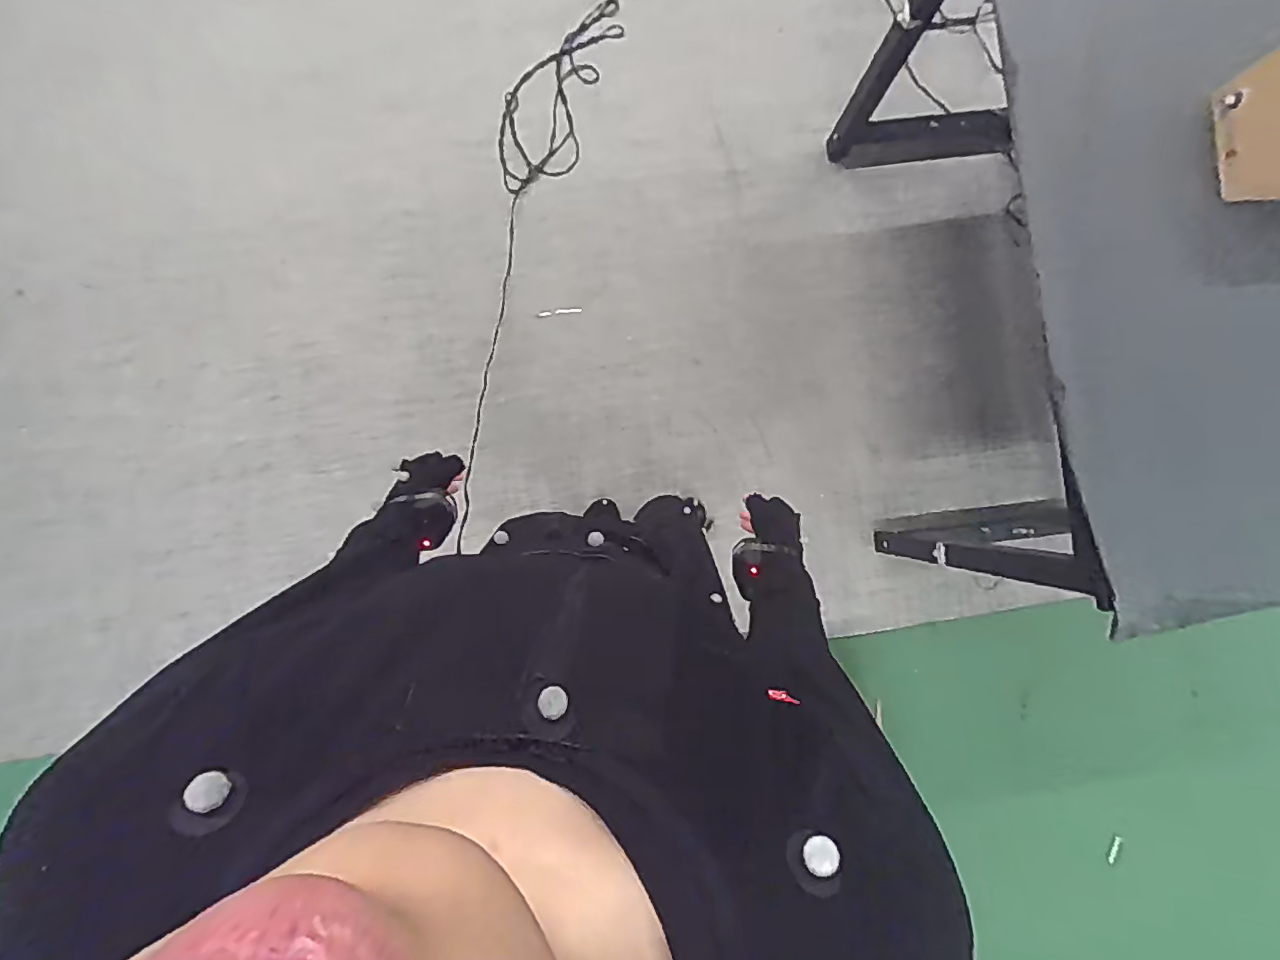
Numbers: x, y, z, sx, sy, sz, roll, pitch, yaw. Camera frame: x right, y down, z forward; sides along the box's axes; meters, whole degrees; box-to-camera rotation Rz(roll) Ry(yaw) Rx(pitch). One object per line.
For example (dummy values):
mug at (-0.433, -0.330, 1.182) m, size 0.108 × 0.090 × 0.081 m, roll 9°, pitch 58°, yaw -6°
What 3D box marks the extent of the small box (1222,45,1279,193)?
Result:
small box at (0.937, -0.504, 0.718) m, size 0.179 × 0.176 × 0.168 m, roll -3°, pitch 89°, yaw -2°
